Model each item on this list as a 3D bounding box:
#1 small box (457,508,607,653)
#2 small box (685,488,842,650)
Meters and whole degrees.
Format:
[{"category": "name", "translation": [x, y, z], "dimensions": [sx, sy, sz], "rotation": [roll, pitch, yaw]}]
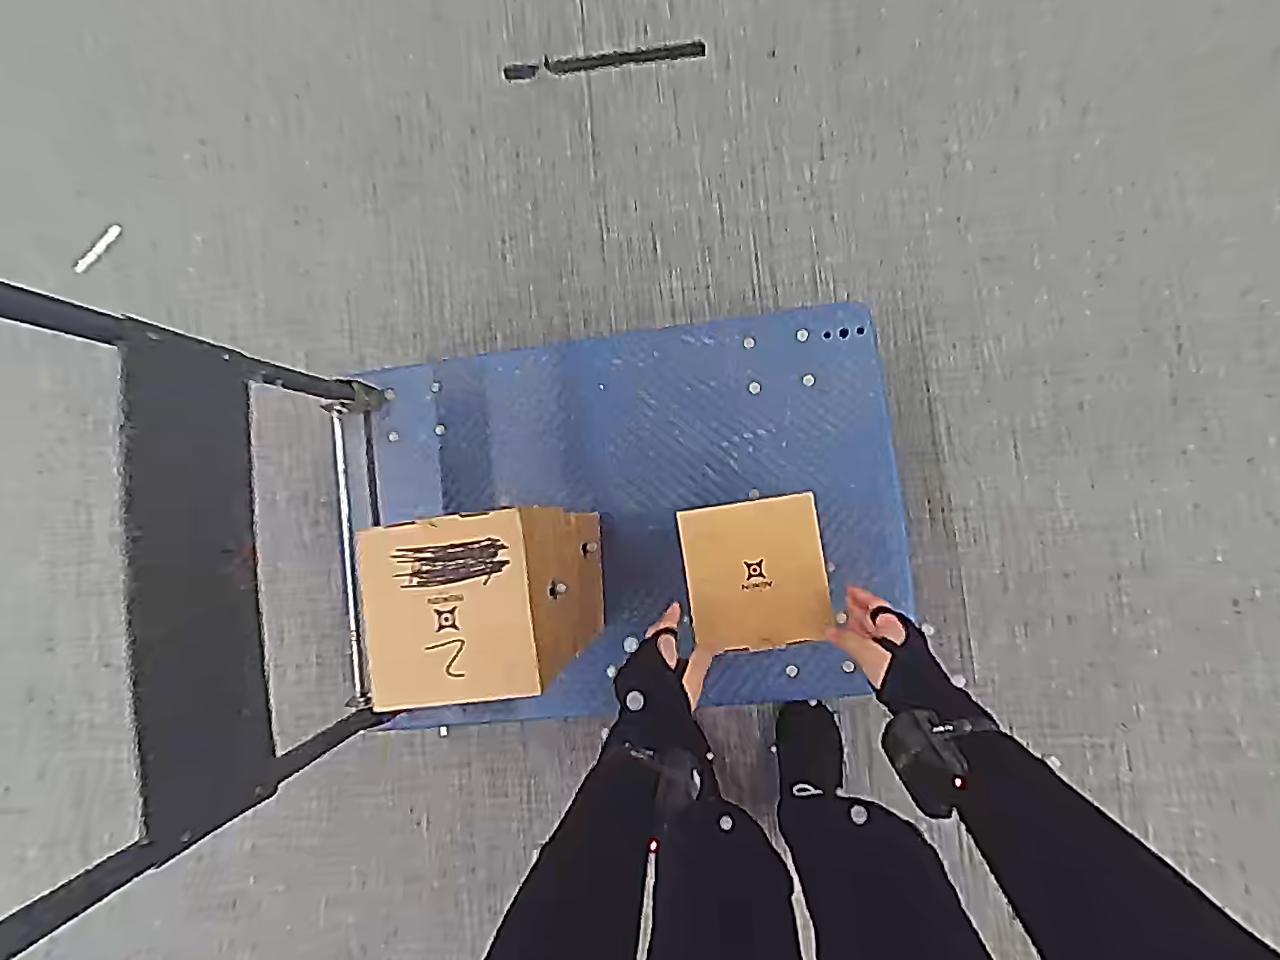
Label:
[{"category": "small box", "translation": [-0.140, 0.132, 0.751], "dimensions": [0.168, 0.176, 0.179], "rotation": [-3, 86, 6]}, {"category": "small box", "translation": [0.153, 0.112, 0.724], "dimensions": [0.168, 0.176, 0.179], "rotation": [-9, 86, 6]}]
